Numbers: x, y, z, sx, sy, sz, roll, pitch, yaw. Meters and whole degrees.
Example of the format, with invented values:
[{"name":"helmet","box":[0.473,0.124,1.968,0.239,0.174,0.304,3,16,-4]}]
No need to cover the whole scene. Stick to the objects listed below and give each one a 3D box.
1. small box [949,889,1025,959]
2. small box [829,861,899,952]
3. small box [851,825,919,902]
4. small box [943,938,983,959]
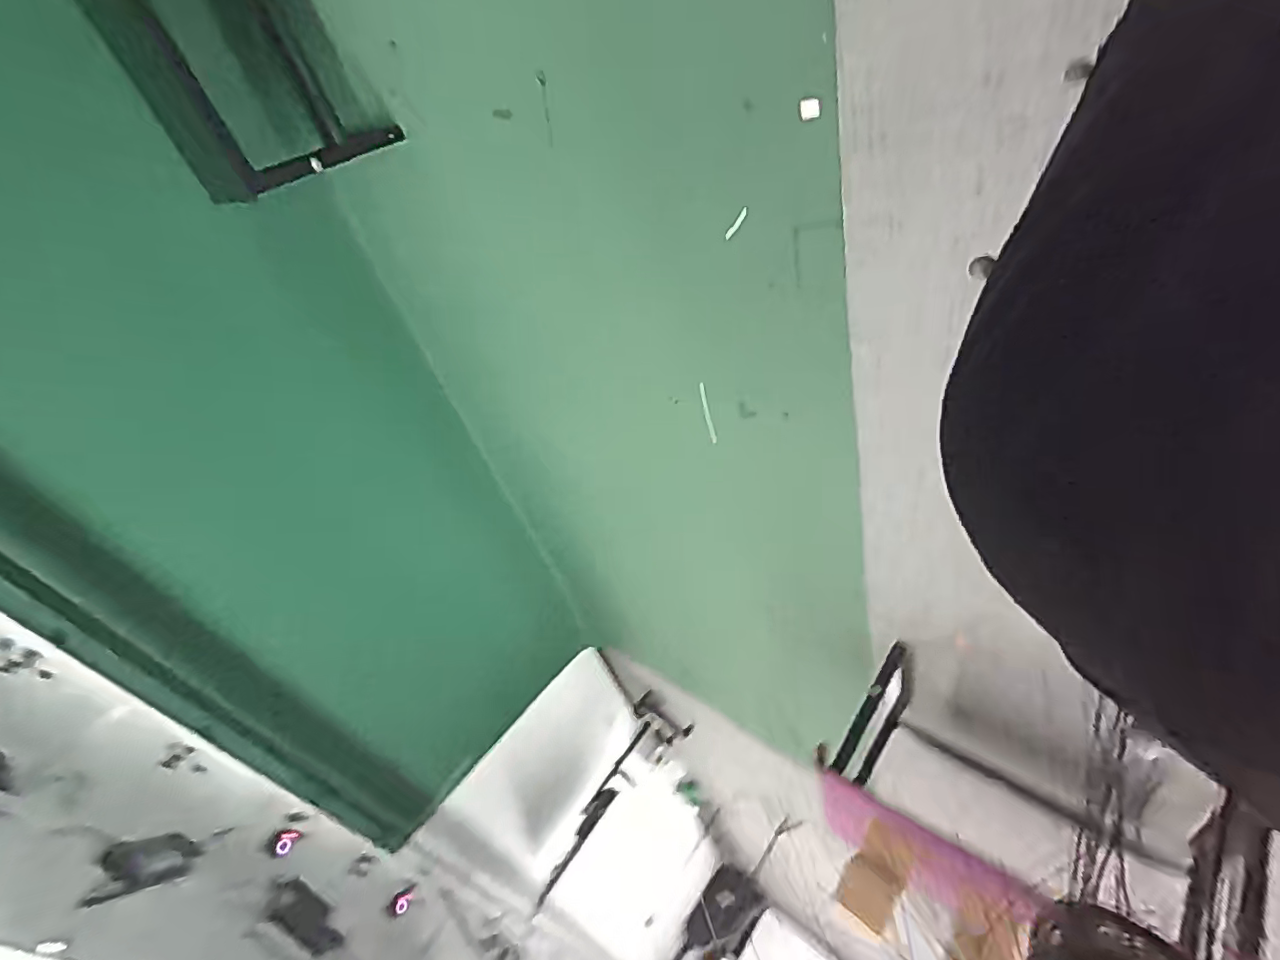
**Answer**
[{"name":"small box","box":[1.138,1.501,1.769,0.179,0.176,0.168,14,138,45]},{"name":"small box","box":[0.775,1.470,1.869,0.179,0.176,0.168,21,143,36]},{"name":"small box","box":[0.884,1.392,1.967,0.179,0.176,0.168,25,145,31]},{"name":"small box","box":[1.028,1.593,1.687,0.168,0.176,0.179,20,141,39]}]
